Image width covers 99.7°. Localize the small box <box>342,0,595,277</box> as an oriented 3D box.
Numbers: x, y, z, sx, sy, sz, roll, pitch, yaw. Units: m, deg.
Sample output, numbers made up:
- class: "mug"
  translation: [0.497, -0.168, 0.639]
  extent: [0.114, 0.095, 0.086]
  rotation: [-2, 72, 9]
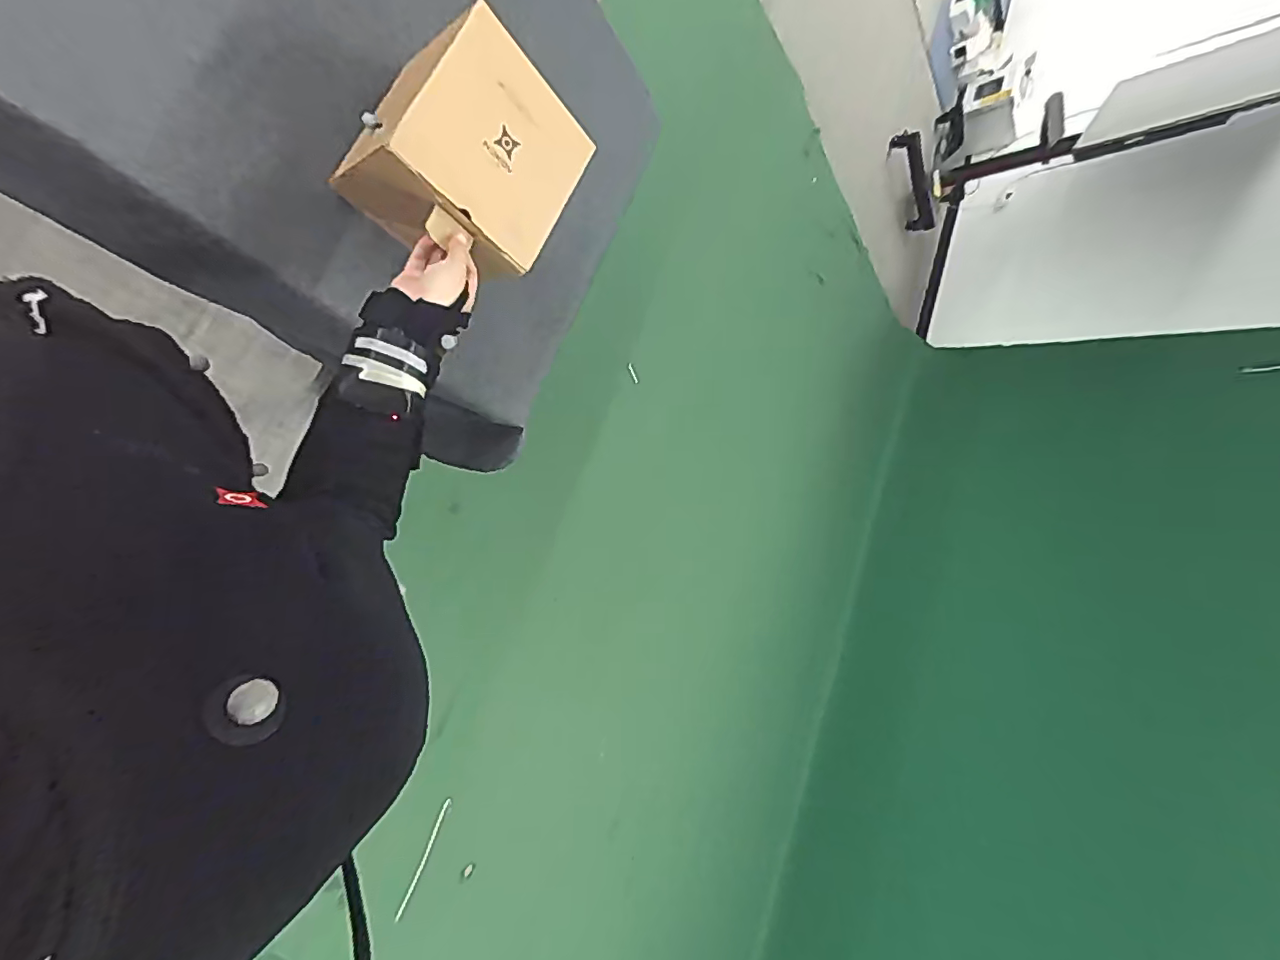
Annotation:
- class: "small box"
  translation: [-0.187, -0.340, 0.580]
  extent: [0.168, 0.176, 0.179]
  rotation: [35, 74, -45]
